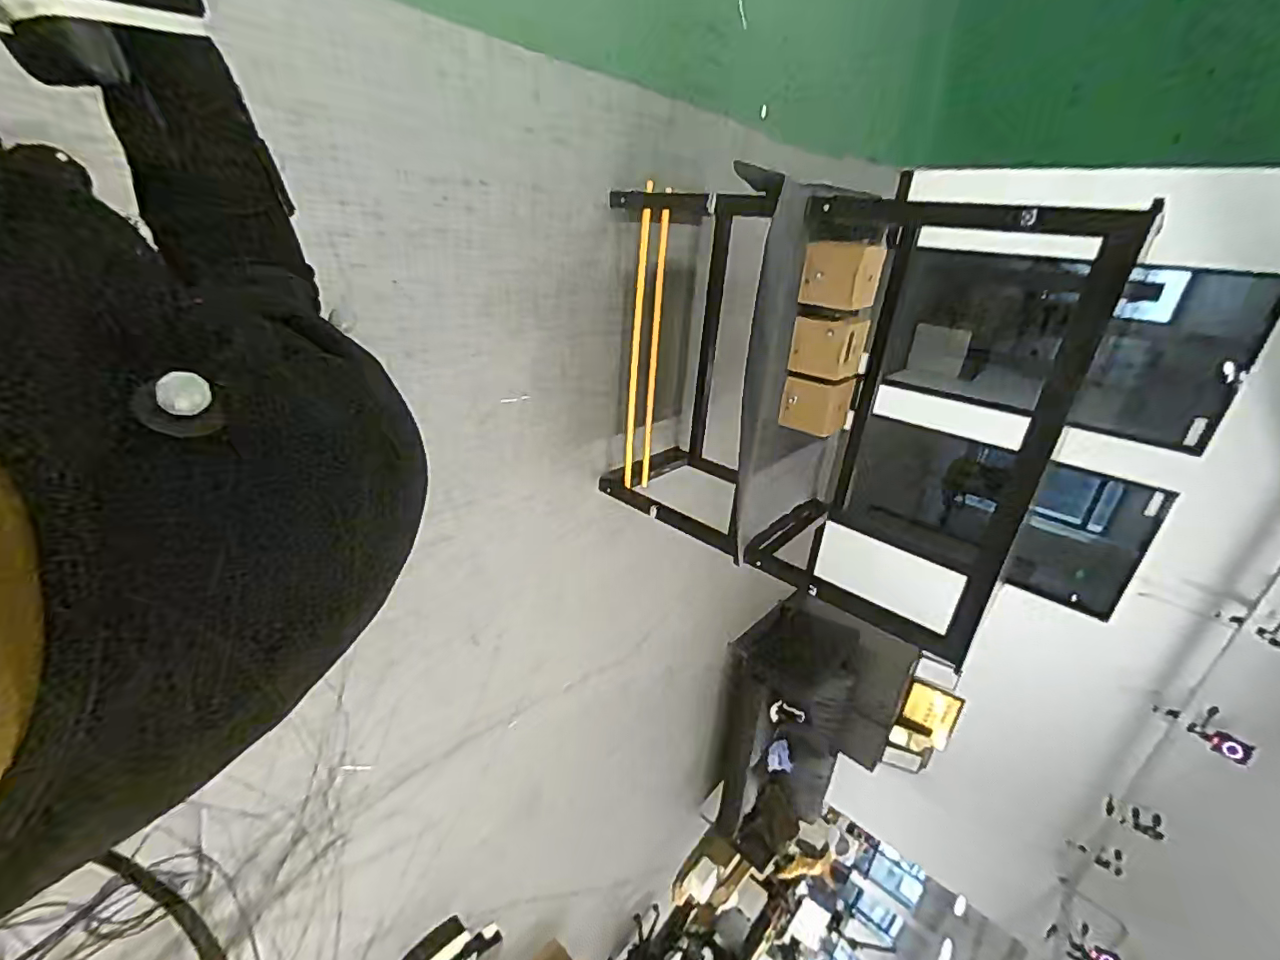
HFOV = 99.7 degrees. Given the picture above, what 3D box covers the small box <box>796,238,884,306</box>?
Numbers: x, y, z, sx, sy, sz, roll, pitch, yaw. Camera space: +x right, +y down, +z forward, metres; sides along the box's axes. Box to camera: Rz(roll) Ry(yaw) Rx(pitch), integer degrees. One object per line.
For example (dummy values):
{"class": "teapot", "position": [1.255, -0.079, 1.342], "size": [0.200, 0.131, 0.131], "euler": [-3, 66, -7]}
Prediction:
{"class": "small box", "position": [0.587, -0.618, 1.592], "size": [0.179, 0.176, 0.168], "euler": [-25, 129, -43]}
